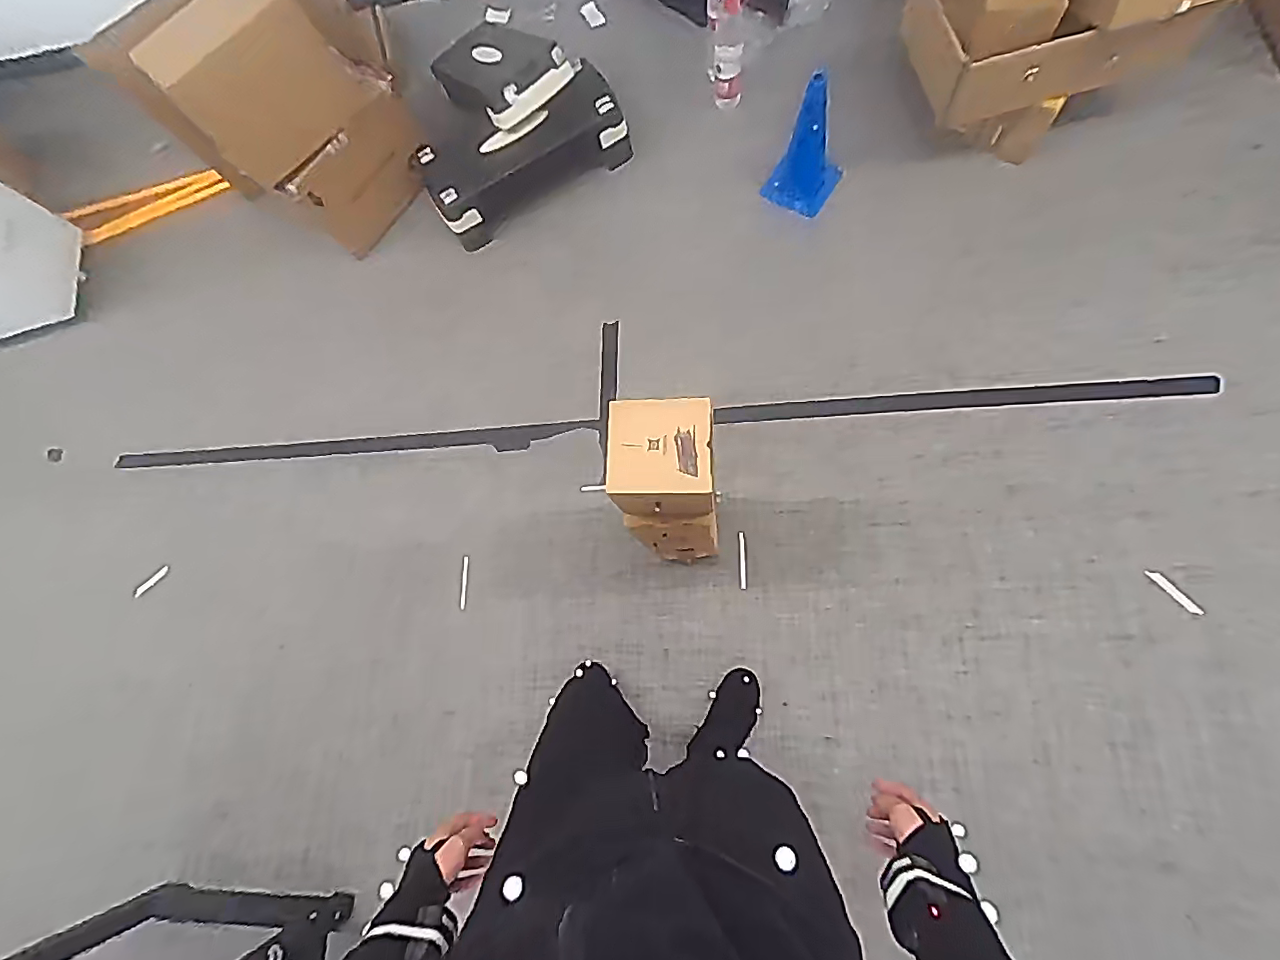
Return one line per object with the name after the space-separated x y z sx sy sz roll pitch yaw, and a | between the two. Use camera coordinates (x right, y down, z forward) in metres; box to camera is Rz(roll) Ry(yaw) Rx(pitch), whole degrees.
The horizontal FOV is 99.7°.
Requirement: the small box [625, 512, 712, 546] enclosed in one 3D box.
0.065 0.038 1.121 0.168 0.176 0.179 -2 75 8 | small box

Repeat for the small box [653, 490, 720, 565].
0.122 0.126 1.431 0.168 0.176 0.179 -5 76 8 | small box

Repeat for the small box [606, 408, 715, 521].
0.045 -0.023 0.968 0.179 0.176 0.168 0 75 10 | small box
